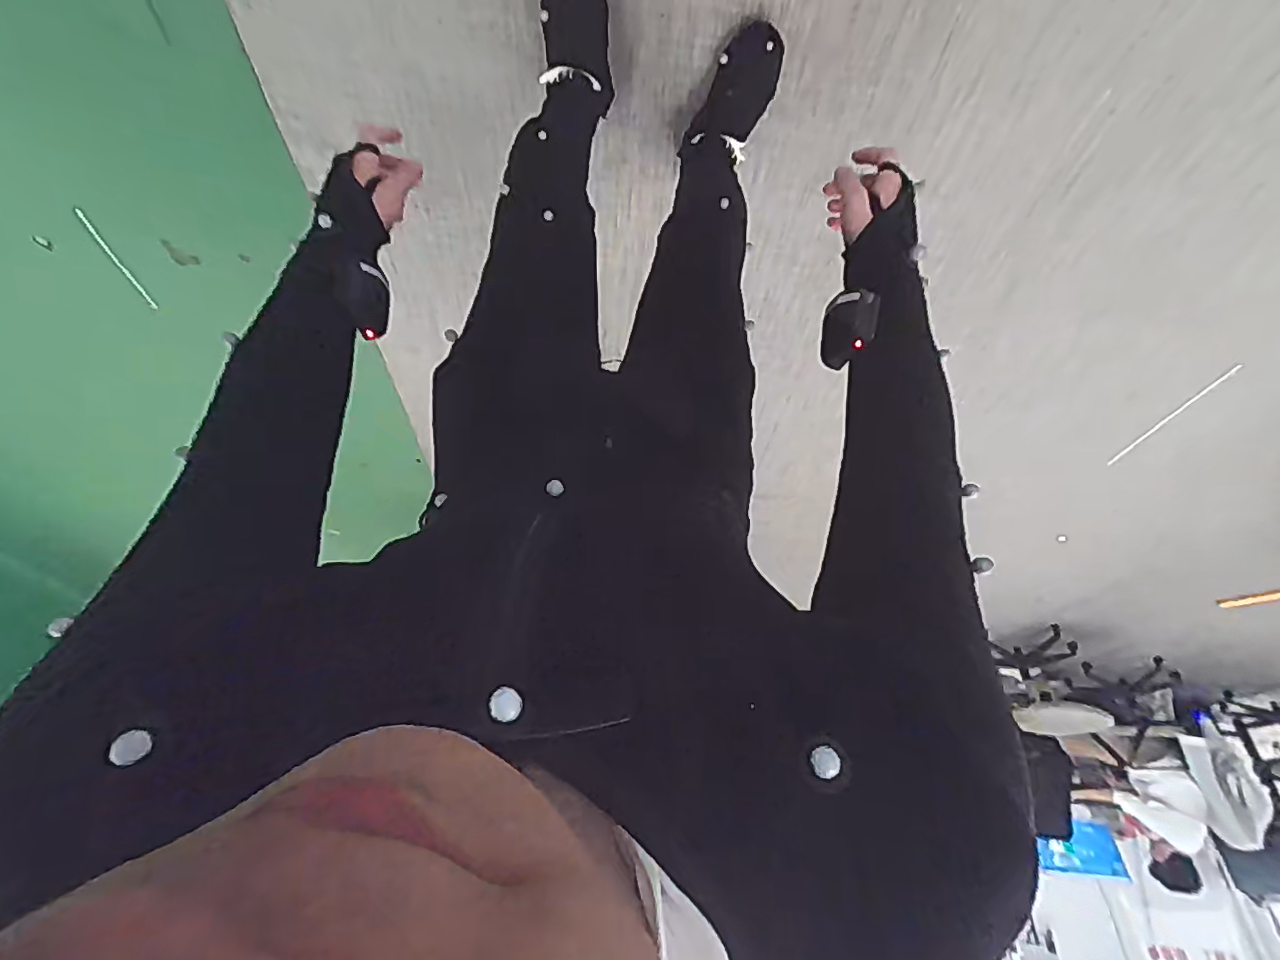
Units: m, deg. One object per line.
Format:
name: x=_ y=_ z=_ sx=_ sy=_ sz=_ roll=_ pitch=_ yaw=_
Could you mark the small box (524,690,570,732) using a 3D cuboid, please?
small box: x=-0.392 y=0.968 z=2.316 sx=0.168 sy=0.176 sz=0.179 roll=7 pitch=146 yaw=-2
